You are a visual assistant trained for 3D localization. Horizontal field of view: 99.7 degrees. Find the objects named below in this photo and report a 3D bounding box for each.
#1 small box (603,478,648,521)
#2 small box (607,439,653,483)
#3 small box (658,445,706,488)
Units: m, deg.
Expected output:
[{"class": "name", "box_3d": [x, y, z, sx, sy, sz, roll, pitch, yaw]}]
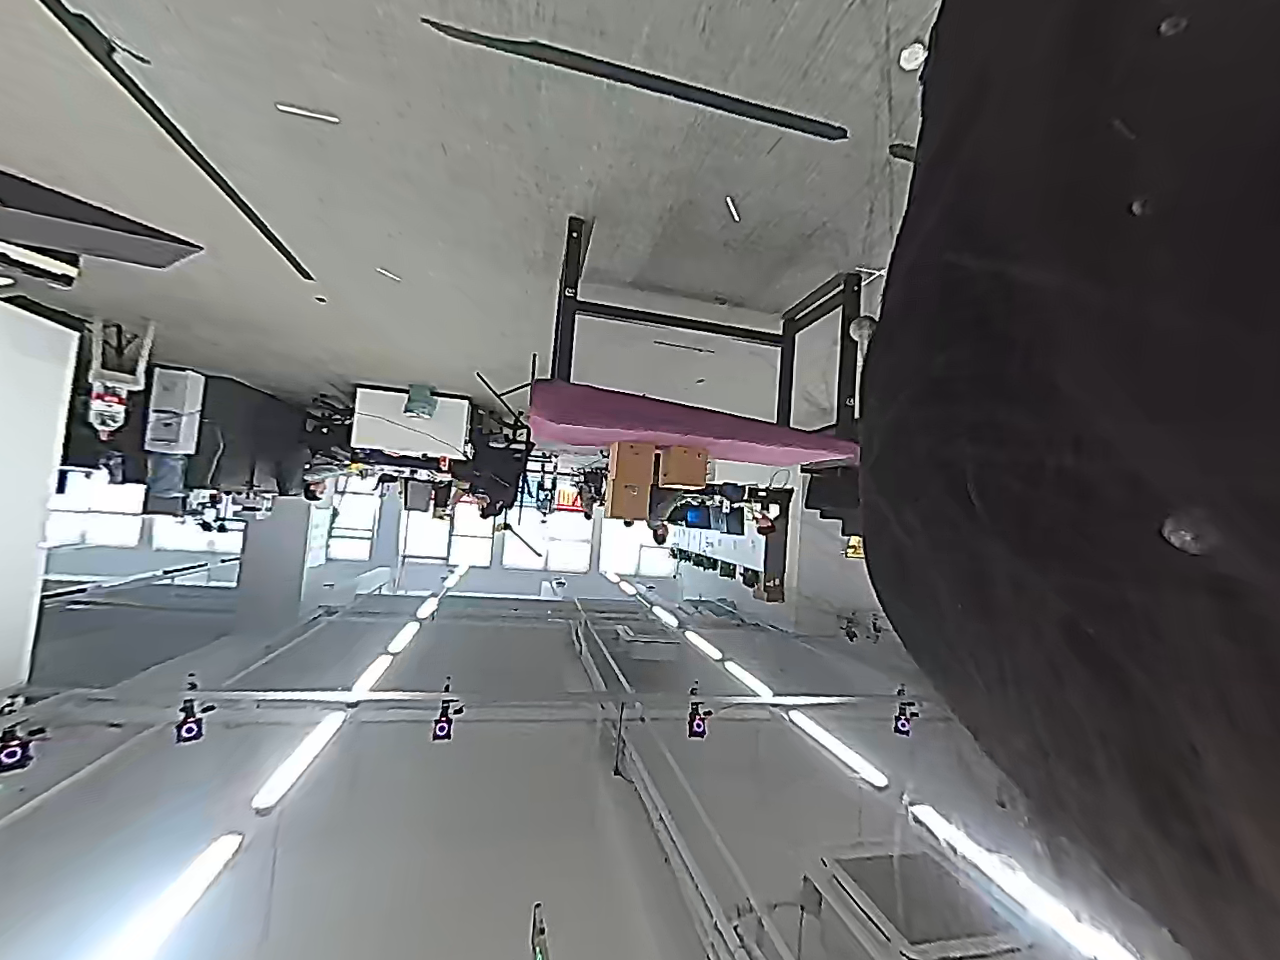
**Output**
[{"class": "small box", "box_3d": [-0.062, 0.085, 2.334, 0.168, 0.176, 0.179, 4, 175, -11]}, {"class": "small box", "box_3d": [-0.044, -0.076, 2.342, 0.168, 0.176, 0.179, 5, 175, -14]}, {"class": "small box", "box_3d": [0.185, -0.057, 2.376, 0.168, 0.176, 0.179, 5, 176, -13]}]
